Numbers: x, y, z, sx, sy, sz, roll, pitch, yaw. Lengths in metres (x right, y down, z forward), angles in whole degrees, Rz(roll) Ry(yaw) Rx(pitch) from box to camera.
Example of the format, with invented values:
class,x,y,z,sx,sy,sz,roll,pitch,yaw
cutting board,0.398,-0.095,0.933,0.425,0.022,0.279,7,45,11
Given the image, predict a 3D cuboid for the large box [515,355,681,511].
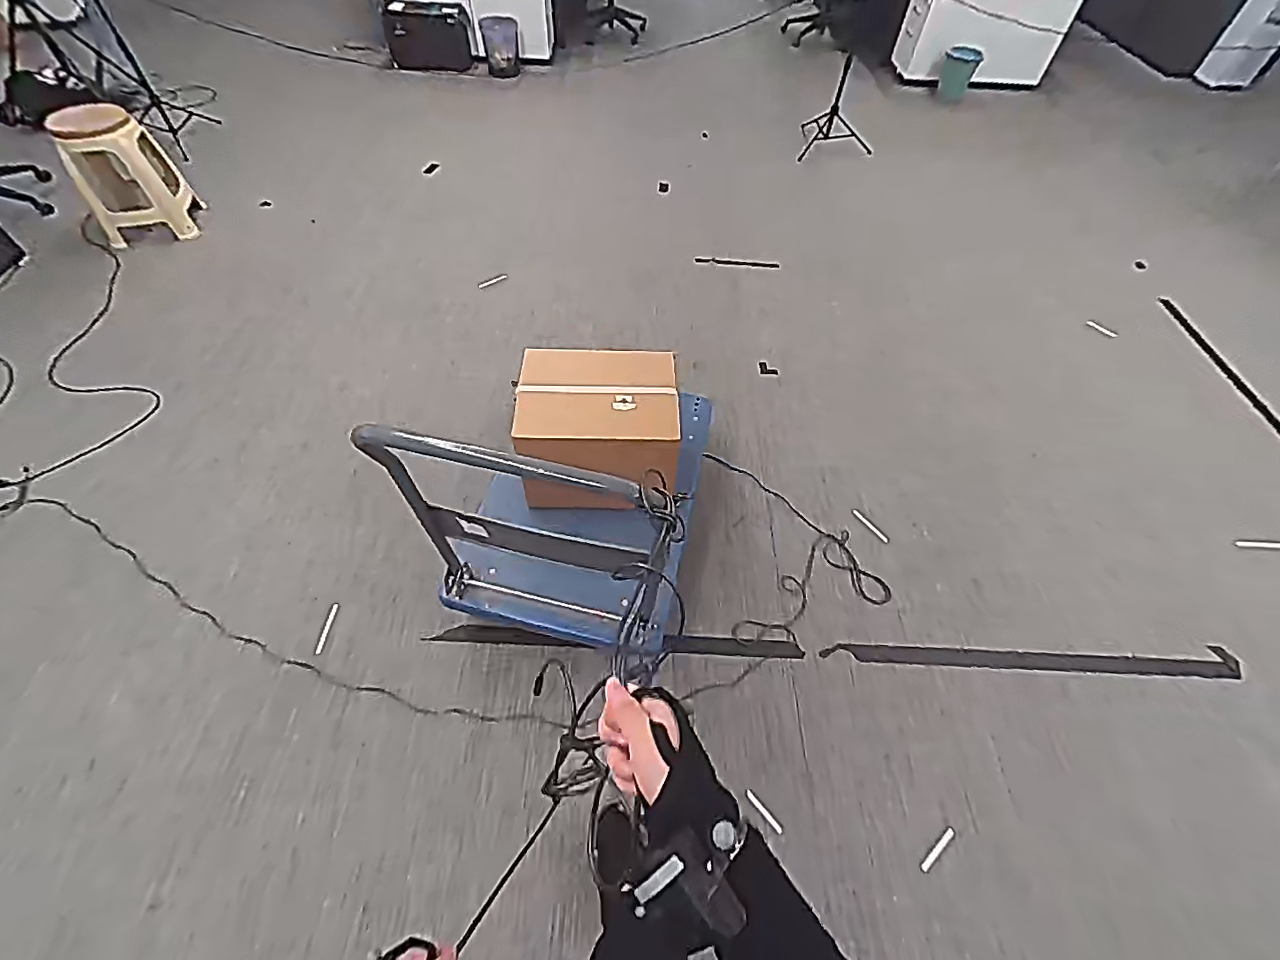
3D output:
class,x,y,z,sx,sy,sz,roll,pitch,yaw
large box,-0.112,-0.123,1.486,0.408,0.320,0.320,1,55,-3
